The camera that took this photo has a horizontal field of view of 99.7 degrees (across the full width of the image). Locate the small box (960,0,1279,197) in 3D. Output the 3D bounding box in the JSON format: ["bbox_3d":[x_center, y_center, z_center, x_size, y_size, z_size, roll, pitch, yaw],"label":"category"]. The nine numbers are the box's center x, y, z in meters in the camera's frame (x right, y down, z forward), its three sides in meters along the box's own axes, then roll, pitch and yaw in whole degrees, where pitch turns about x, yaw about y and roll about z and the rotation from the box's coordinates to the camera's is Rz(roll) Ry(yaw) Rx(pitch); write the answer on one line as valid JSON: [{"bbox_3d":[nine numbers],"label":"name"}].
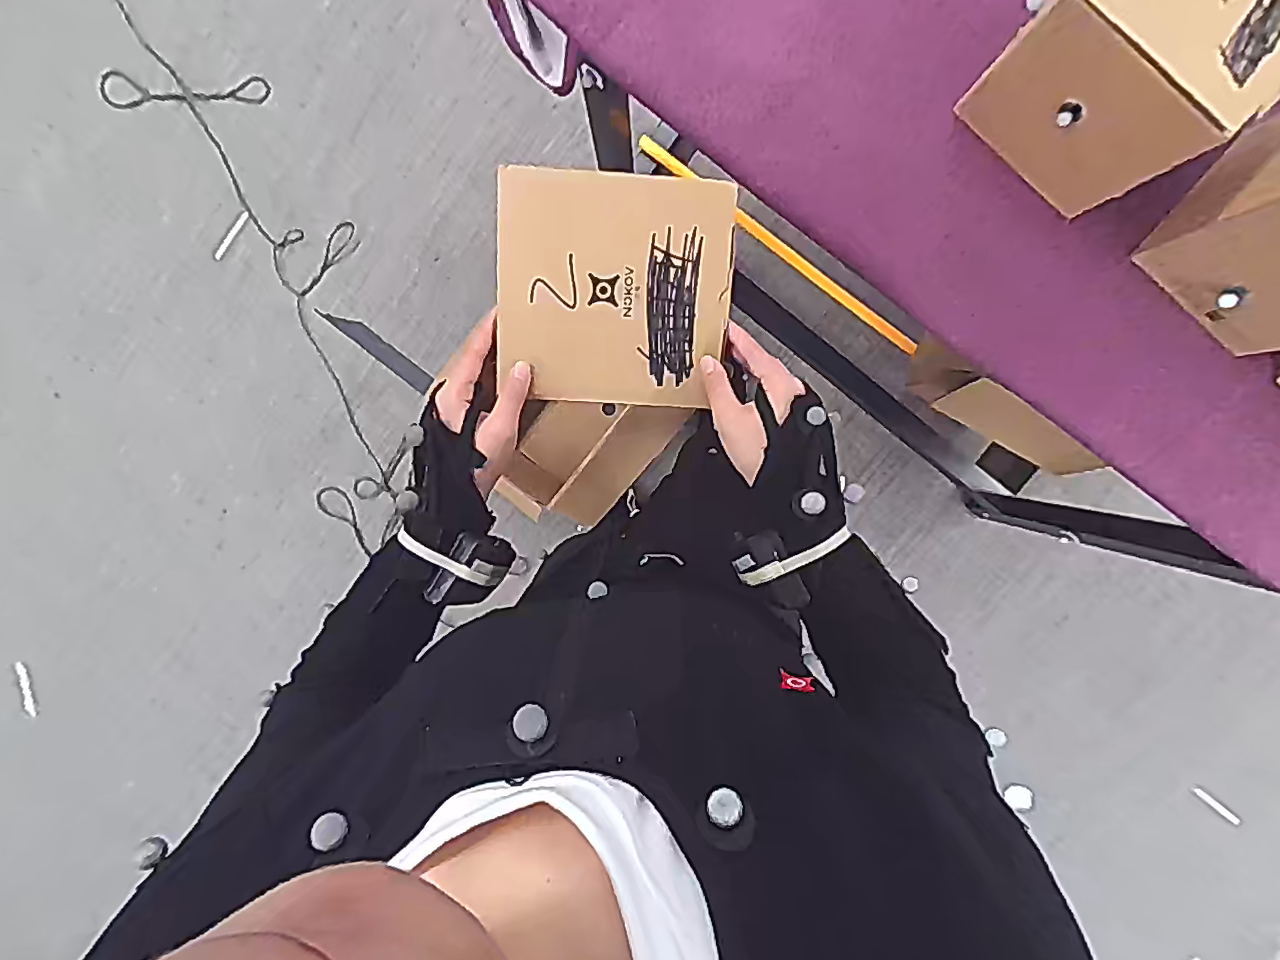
[{"bbox_3d":[0.447,-0.393,0.490,0.179,0.176,0.168,41,95,-1],"label":"small box"}]
